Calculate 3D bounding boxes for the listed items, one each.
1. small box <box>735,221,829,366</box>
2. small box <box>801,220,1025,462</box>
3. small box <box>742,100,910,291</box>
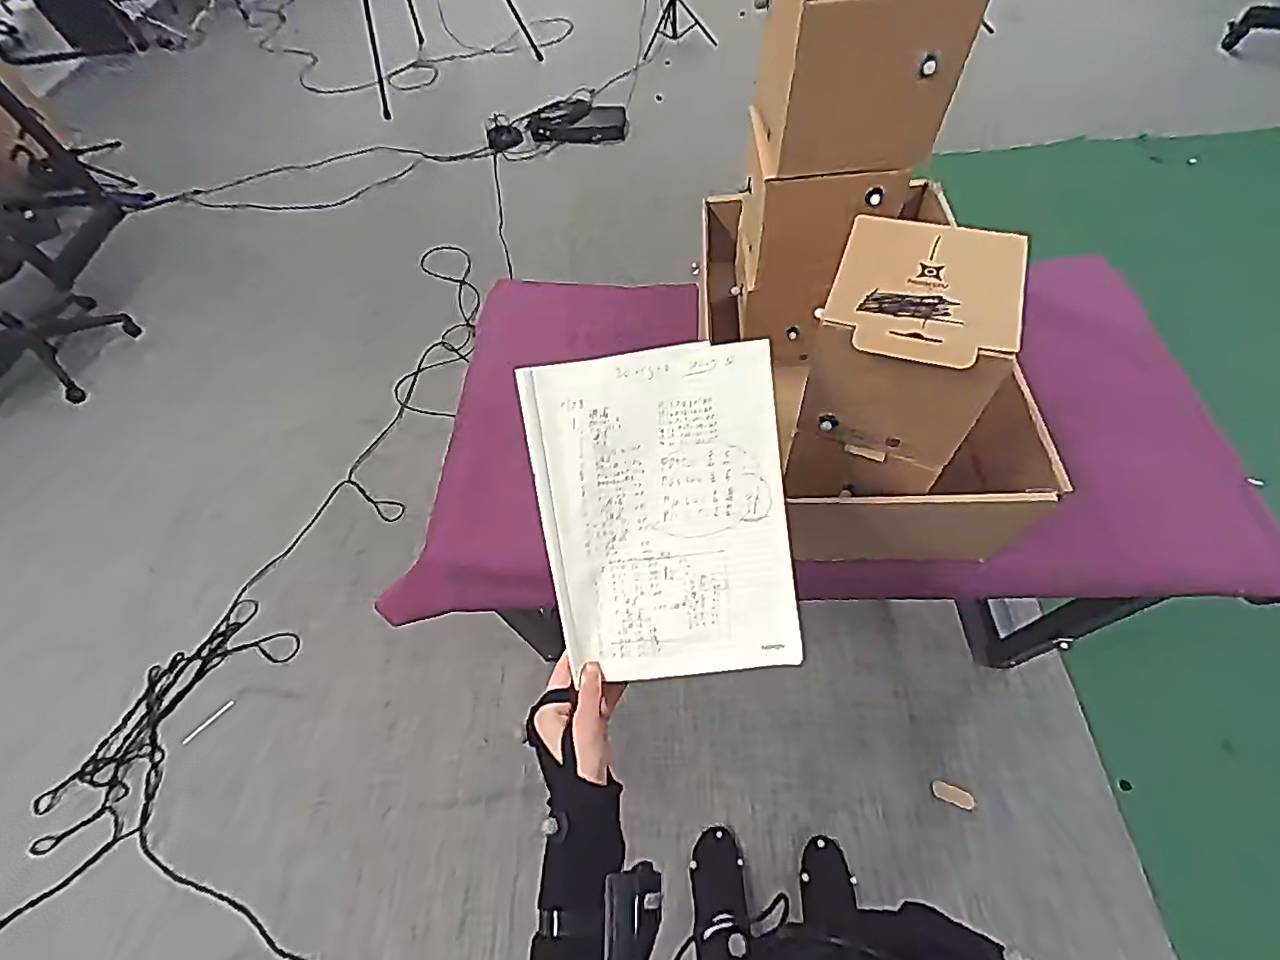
[{"bbox_3d":[0.244,-0.299,0.879,0.168,0.176,0.179,-1,60,6],"label":"small box"},{"bbox_3d":[0.281,-0.146,0.584,0.168,0.176,0.179,17,60,17],"label":"small box"},{"bbox_3d":[0.235,-0.378,0.738,0.179,0.176,0.168,-3,60,4],"label":"small box"}]
